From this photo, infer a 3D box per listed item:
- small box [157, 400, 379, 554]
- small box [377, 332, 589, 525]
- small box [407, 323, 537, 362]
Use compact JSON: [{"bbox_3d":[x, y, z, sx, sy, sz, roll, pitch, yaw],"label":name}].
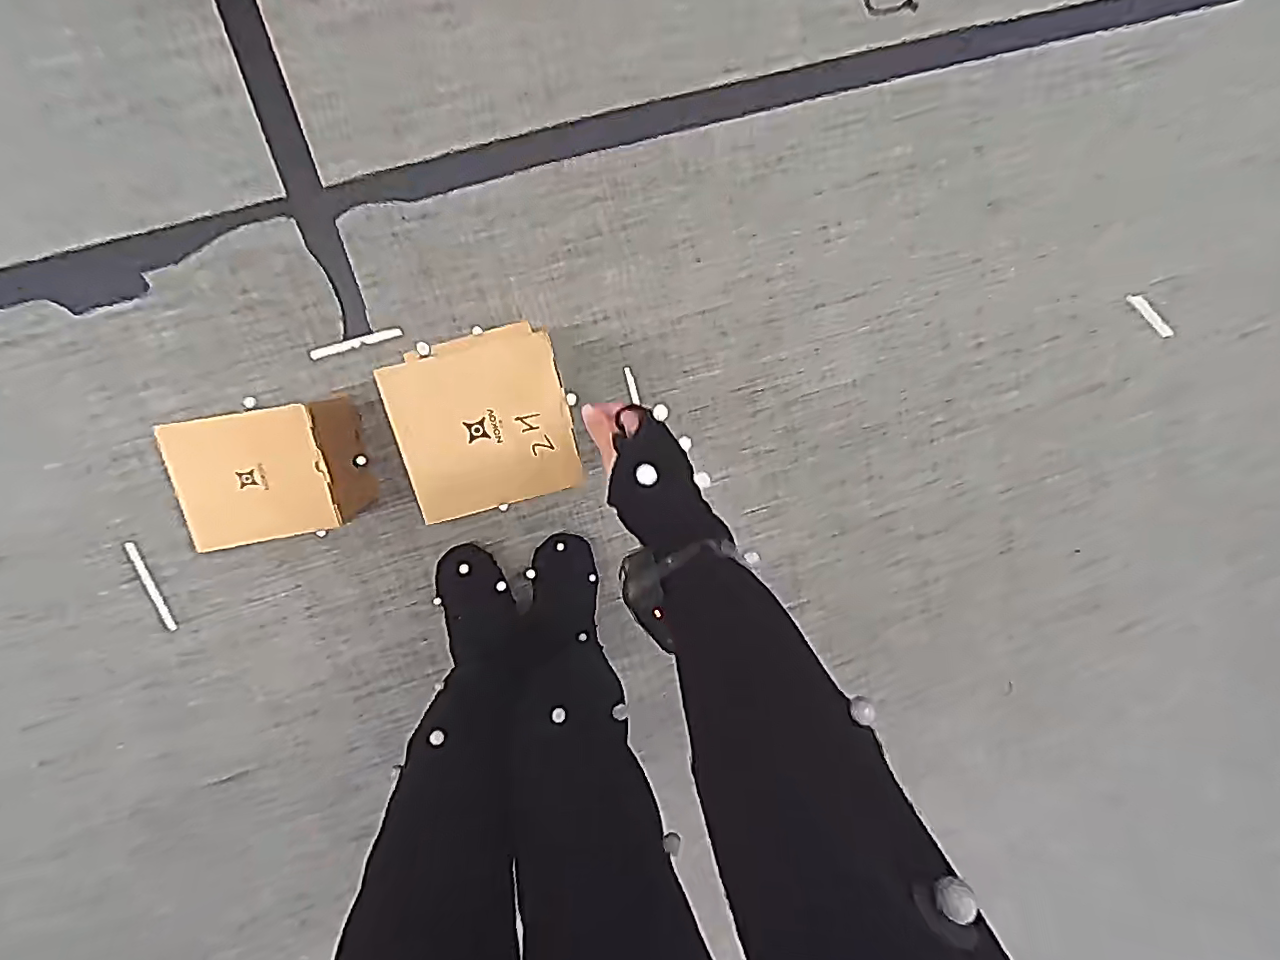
[{"bbox_3d":[-0.491,-0.015,0.744,0.179,0.176,0.168,-11,103,-8],"label":"small box"},{"bbox_3d":[-0.167,-0.066,0.622,0.179,0.176,0.168,-15,105,-8],"label":"small box"},{"bbox_3d":[-0.205,-0.114,0.776,0.168,0.176,0.179,-18,104,-7],"label":"small box"}]
